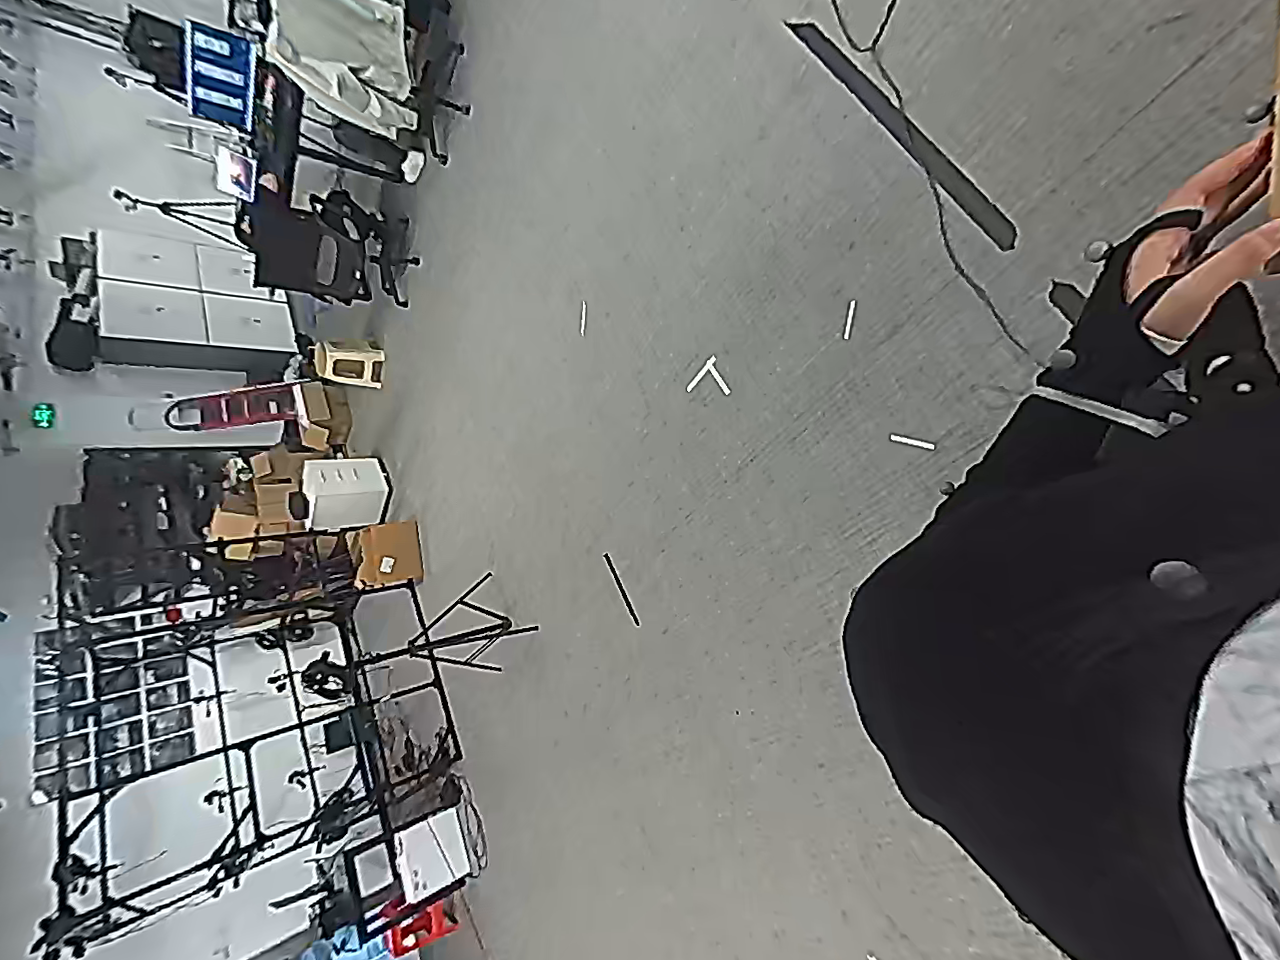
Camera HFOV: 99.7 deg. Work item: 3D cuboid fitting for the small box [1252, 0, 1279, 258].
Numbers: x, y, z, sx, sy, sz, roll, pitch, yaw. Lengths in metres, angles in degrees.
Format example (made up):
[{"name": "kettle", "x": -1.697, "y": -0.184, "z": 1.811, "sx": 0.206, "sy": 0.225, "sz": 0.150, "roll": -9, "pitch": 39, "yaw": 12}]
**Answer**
[{"name": "small box", "x": 0.484, "y": -0.245, "z": 0.312, "sx": 0.168, "sy": 0.176, "sz": 0.179, "roll": 5, "pitch": 101, "yaw": 49}]
